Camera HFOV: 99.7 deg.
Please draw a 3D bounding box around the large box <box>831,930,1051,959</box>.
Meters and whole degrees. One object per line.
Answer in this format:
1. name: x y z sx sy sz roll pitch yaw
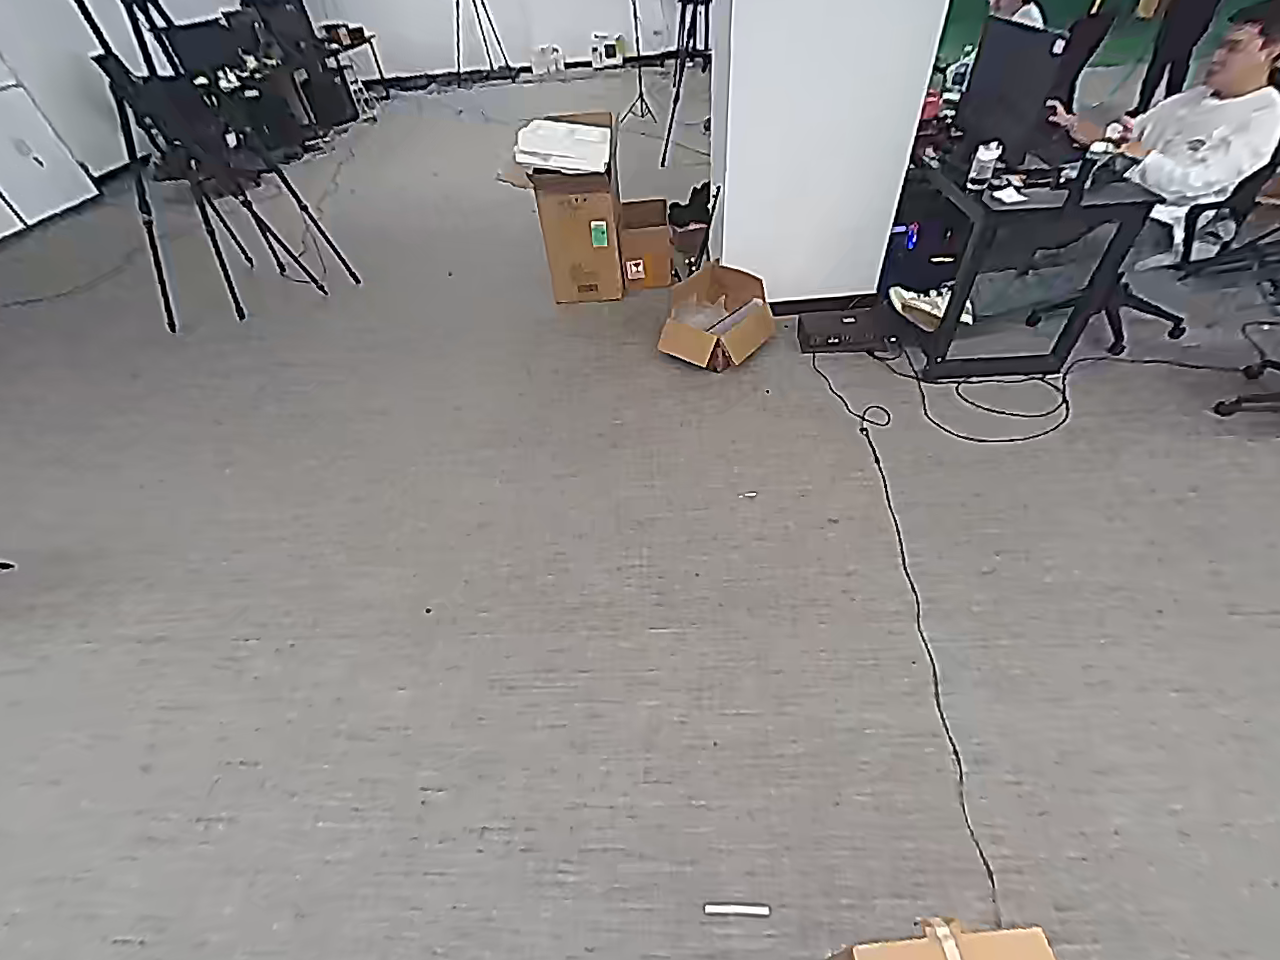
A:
1. large box: 0.539 1.010 0.870 0.320 0.320 0.408 -7 46 2
